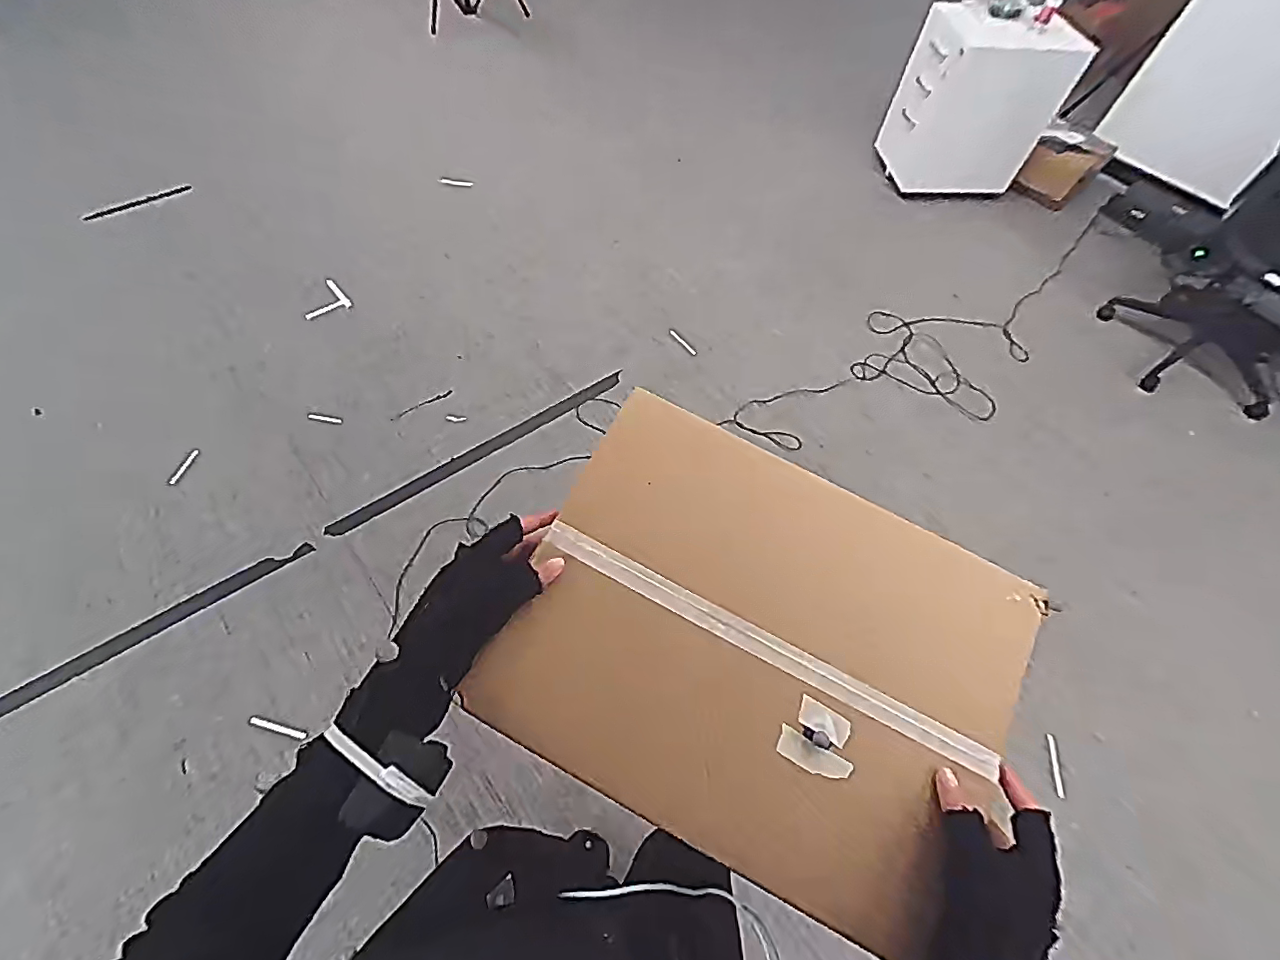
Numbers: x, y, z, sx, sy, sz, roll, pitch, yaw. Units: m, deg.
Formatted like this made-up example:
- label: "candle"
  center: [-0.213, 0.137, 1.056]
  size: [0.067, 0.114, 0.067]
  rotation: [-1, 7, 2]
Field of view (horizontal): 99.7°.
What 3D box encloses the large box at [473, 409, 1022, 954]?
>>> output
- label: "large box"
  center: [0.095, 0.186, 0.608]
  size: [0.408, 0.320, 0.320]
  rotation: [28, 75, 5]
